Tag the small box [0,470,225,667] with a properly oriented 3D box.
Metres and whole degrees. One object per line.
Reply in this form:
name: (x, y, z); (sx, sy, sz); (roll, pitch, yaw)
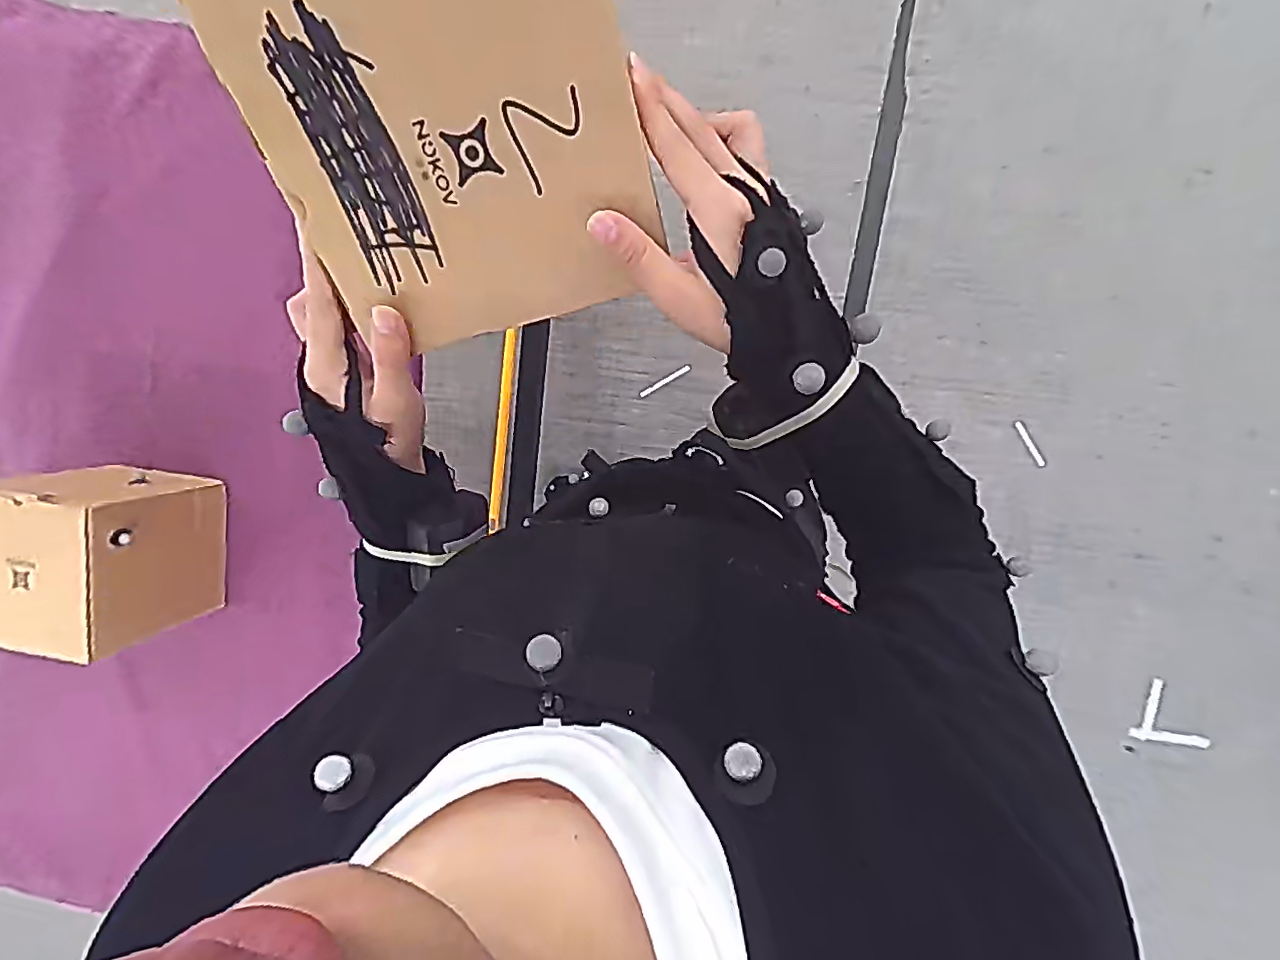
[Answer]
small box: (-0.639, 0.092, 0.644); (0.168, 0.176, 0.179); (8, 98, 6)
